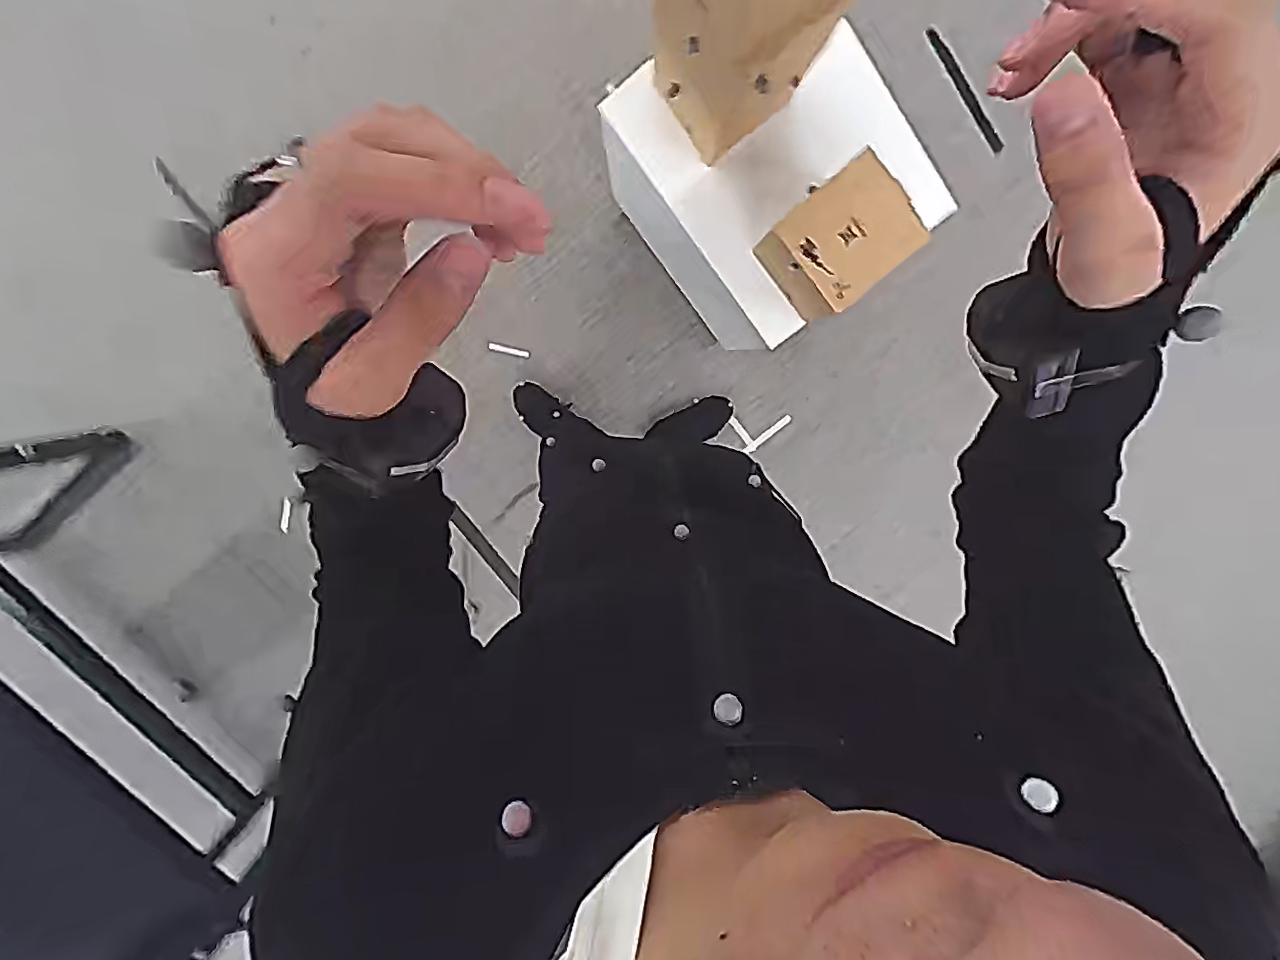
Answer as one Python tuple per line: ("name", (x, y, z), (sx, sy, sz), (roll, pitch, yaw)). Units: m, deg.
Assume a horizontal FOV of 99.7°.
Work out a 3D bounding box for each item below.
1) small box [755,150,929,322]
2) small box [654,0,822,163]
("small box", (0.313, -0.379, 0.875), (0.179, 0.176, 0.168), (-39, 99, 7))
("small box", (0.136, -0.626, 0.819), (0.179, 0.176, 0.168), (-36, 101, 7))
